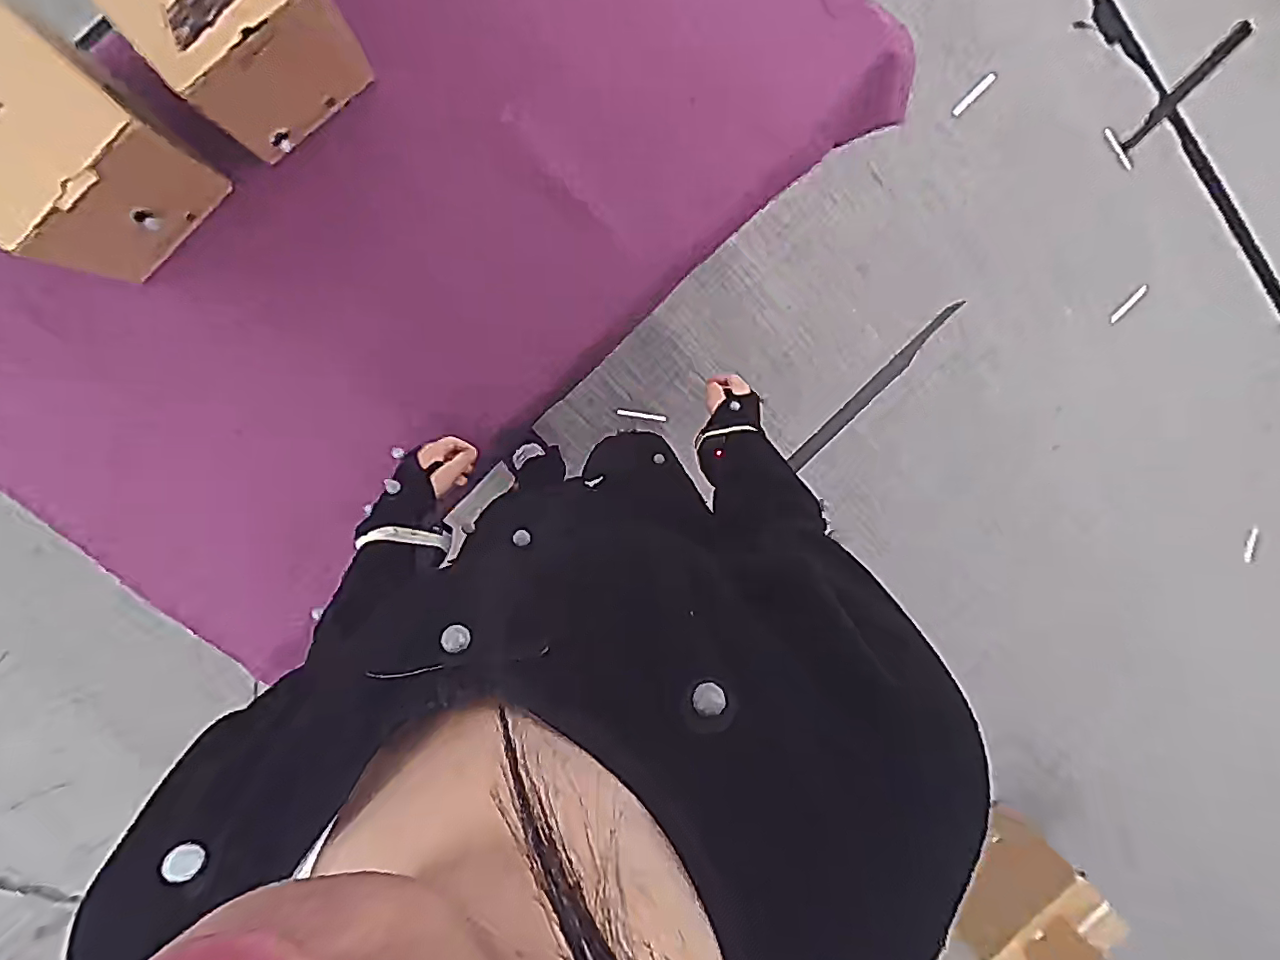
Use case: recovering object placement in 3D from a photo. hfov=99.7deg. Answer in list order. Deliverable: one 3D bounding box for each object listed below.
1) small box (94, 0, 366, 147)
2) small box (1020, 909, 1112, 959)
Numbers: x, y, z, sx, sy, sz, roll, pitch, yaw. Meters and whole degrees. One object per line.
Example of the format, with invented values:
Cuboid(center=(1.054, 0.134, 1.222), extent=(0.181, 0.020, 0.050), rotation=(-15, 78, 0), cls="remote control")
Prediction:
Cuboid(center=(-0.419, -0.477, 0.546), extent=(0.168, 0.176, 0.179), rotation=(-41, 103, -1), cls="small box")
Cuboid(center=(1.258, 1.403, 1.558), extent=(0.168, 0.176, 0.179), rotation=(44, 92, -12), cls="small box")
